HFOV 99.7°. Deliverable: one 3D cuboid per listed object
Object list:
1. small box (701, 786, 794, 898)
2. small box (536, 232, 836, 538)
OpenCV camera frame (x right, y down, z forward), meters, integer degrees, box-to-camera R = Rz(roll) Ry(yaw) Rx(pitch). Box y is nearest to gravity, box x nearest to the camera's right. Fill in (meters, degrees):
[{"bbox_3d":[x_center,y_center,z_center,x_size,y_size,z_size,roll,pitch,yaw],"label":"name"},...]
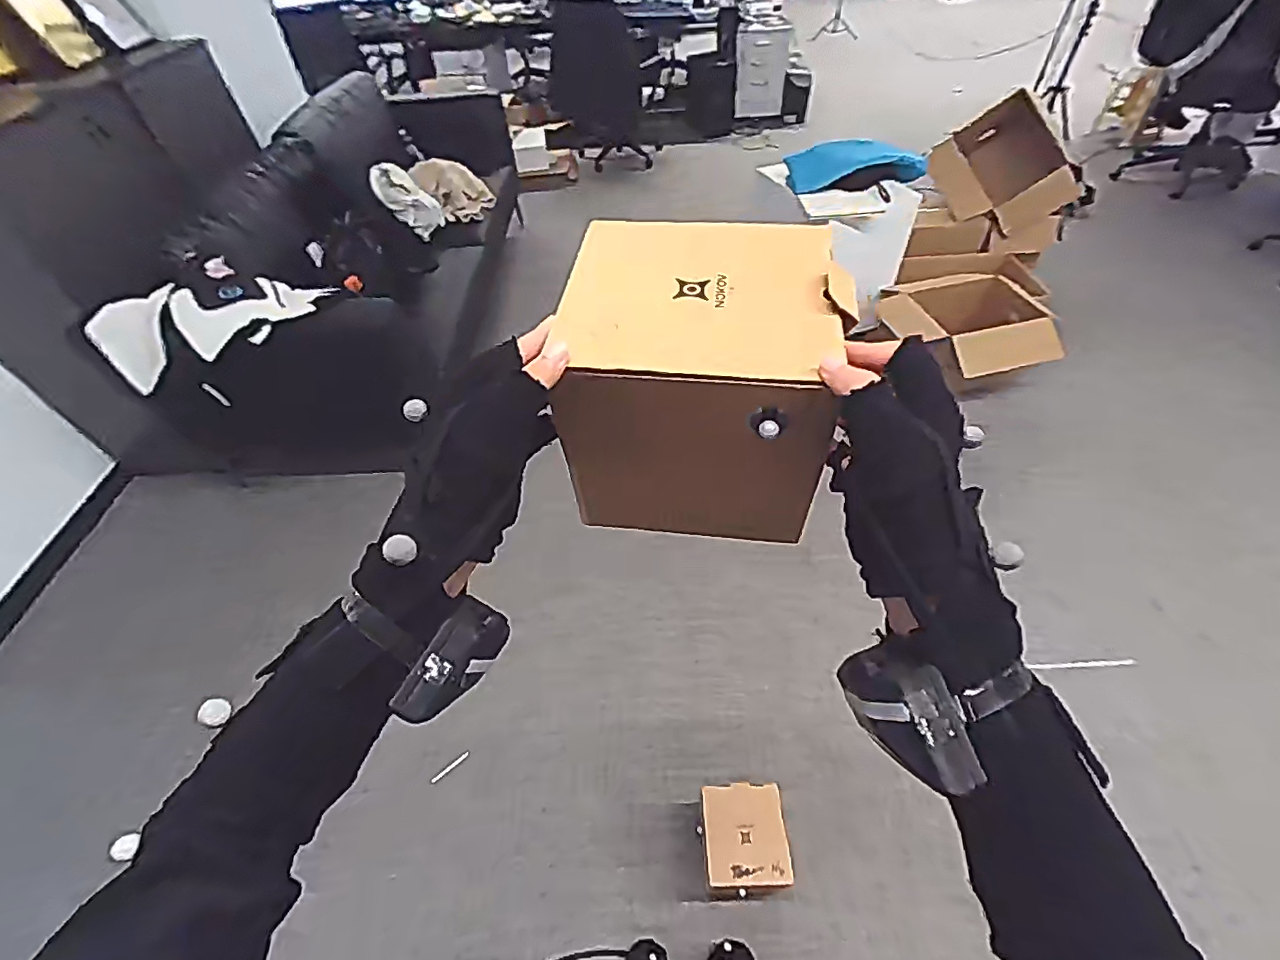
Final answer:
[{"bbox_3d":[0.219,0.775,1.156,0.168,0.176,0.179,-2,48,2],"label":"small box"},{"bbox_3d":[0.039,-0.069,0.418,0.179,0.176,0.168,4,53,7],"label":"small box"}]
